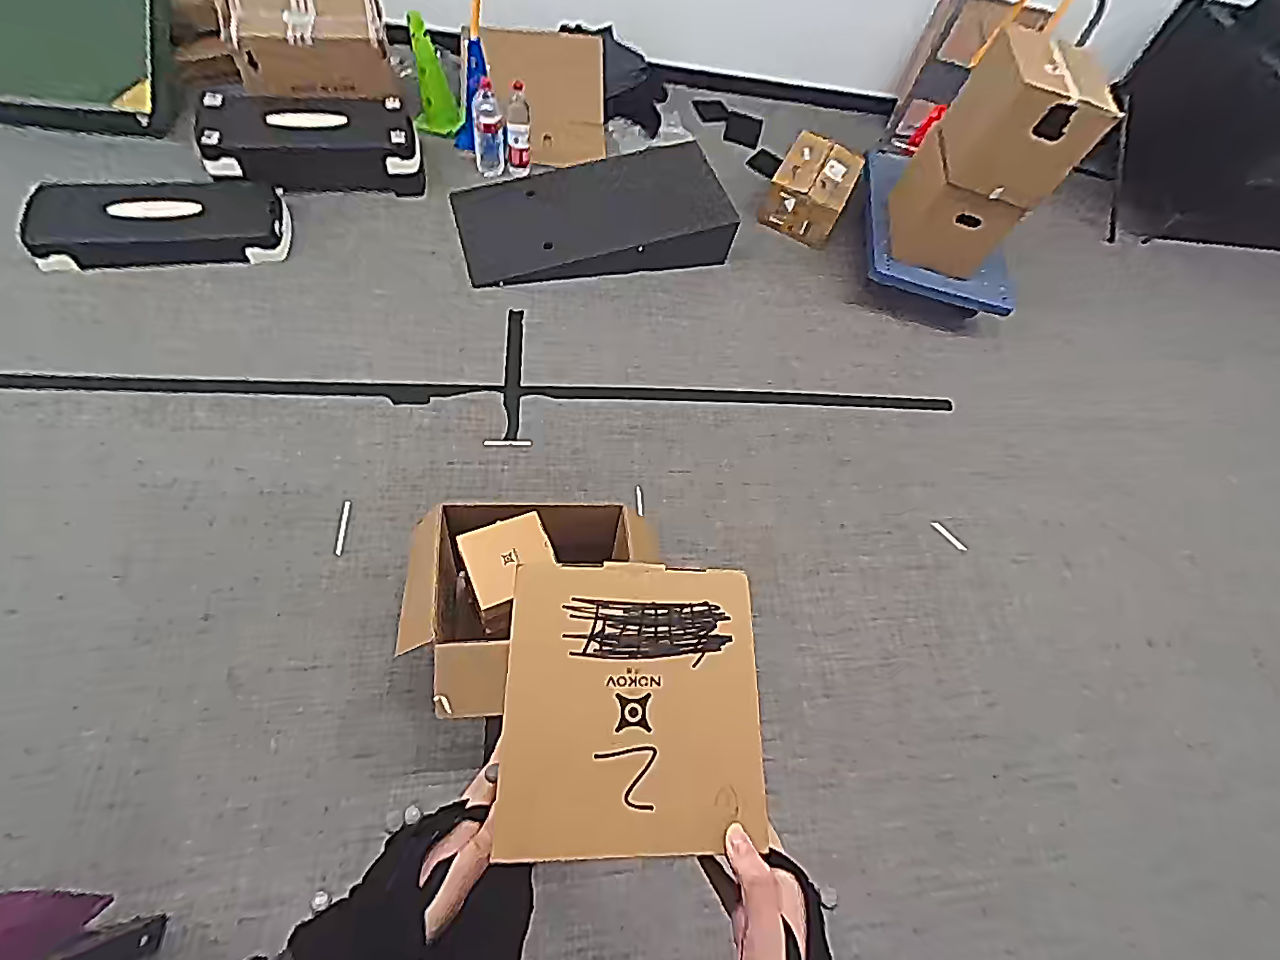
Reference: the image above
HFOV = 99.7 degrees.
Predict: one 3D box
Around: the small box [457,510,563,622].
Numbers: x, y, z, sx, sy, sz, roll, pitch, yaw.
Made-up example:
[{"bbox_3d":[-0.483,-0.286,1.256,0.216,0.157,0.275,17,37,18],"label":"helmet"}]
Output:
[{"bbox_3d":[-0.283,0.191,1.179,0.179,0.176,0.168,-18,70,-23],"label":"small box"}]
